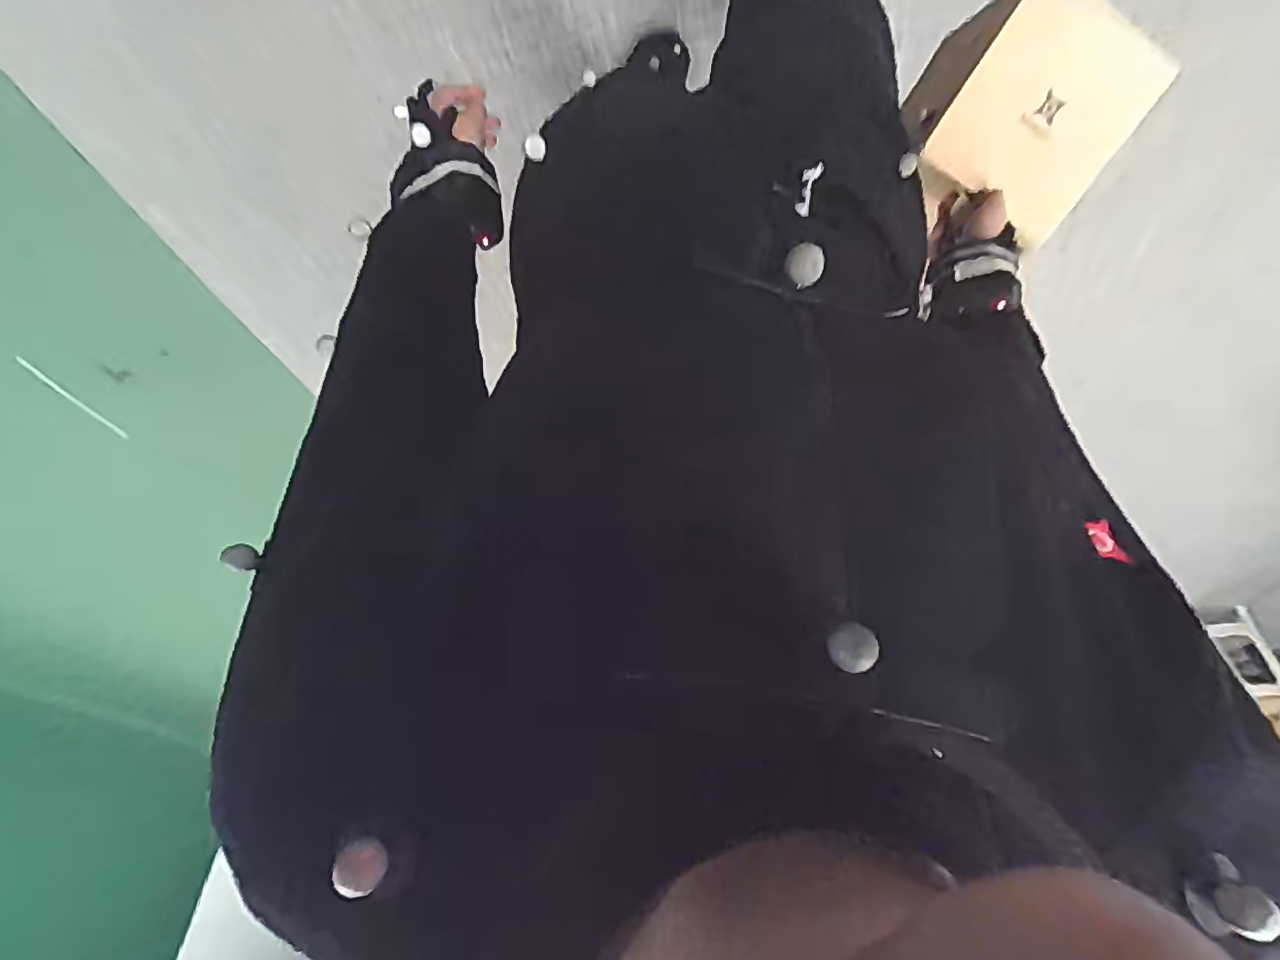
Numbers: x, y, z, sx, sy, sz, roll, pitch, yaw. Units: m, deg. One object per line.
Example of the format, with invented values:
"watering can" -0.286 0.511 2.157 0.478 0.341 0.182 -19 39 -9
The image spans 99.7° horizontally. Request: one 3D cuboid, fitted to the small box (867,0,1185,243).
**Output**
"small box" 0.377 -0.374 0.568 0.168 0.176 0.179 28 109 -10
